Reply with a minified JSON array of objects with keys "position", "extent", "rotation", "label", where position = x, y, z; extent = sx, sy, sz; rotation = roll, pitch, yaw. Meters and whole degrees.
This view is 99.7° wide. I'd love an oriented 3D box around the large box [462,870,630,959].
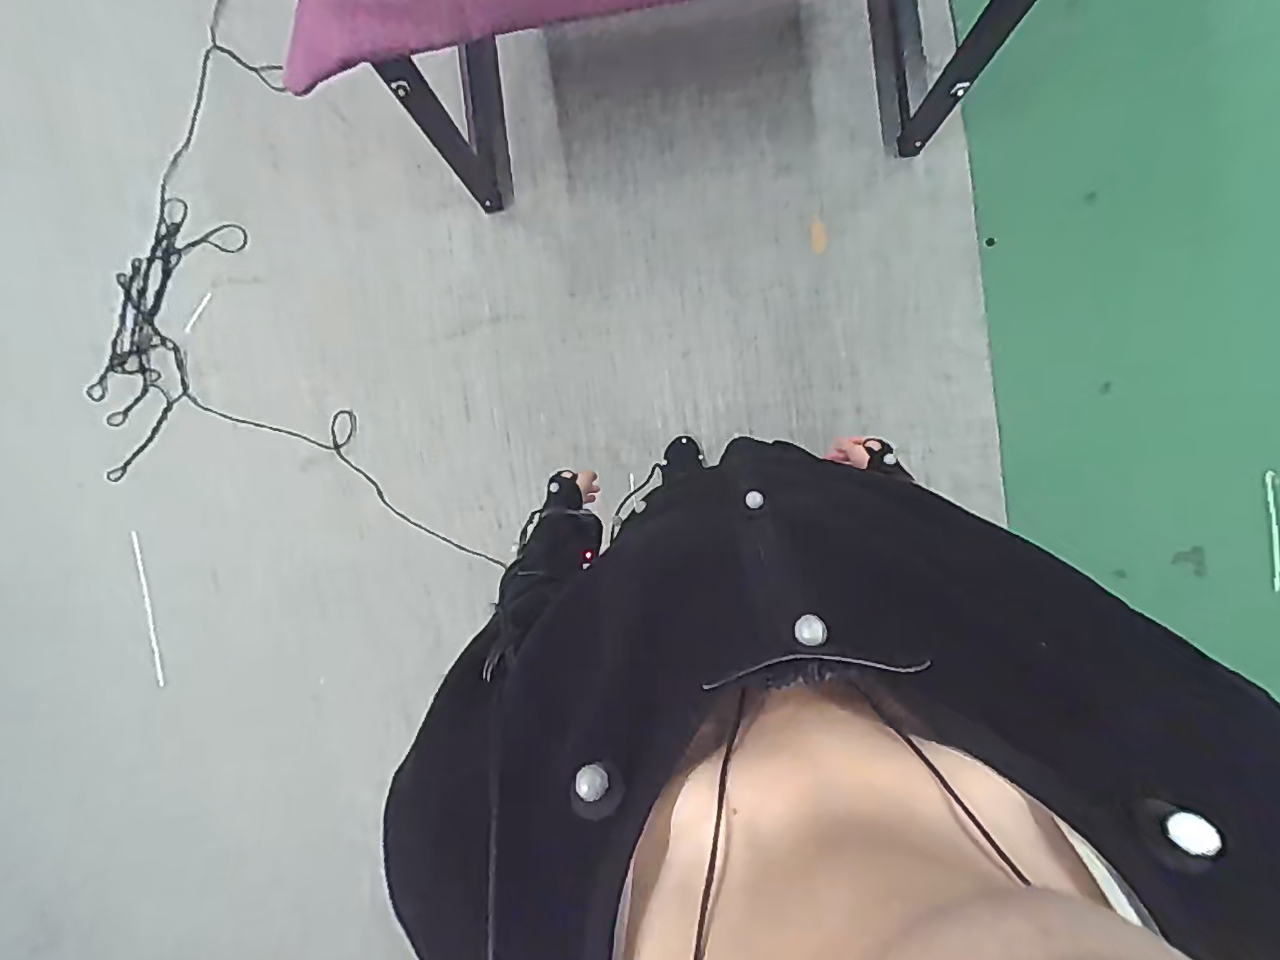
[{"position":[-0.265,1.337,1.437],"extent":[0.408,0.320,0.320],"rotation":[16,94,3],"label":"large box"}]
